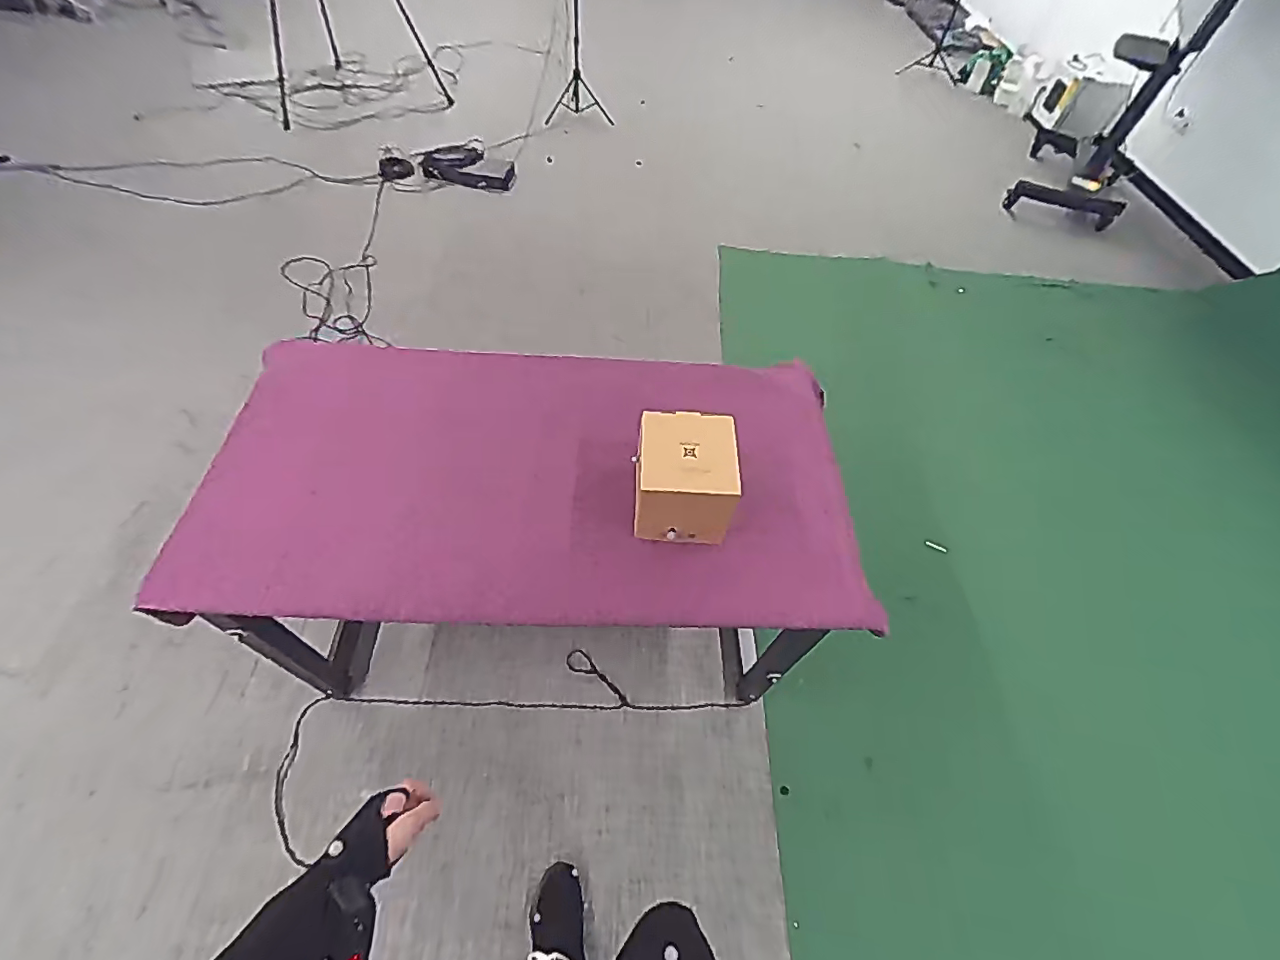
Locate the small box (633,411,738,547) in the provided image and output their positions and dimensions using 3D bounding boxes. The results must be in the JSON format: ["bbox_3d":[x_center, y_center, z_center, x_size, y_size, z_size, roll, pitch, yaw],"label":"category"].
[{"bbox_3d":[0.075,0.000,0.980,0.168,0.176,0.179,4,54,-2],"label":"small box"}]
